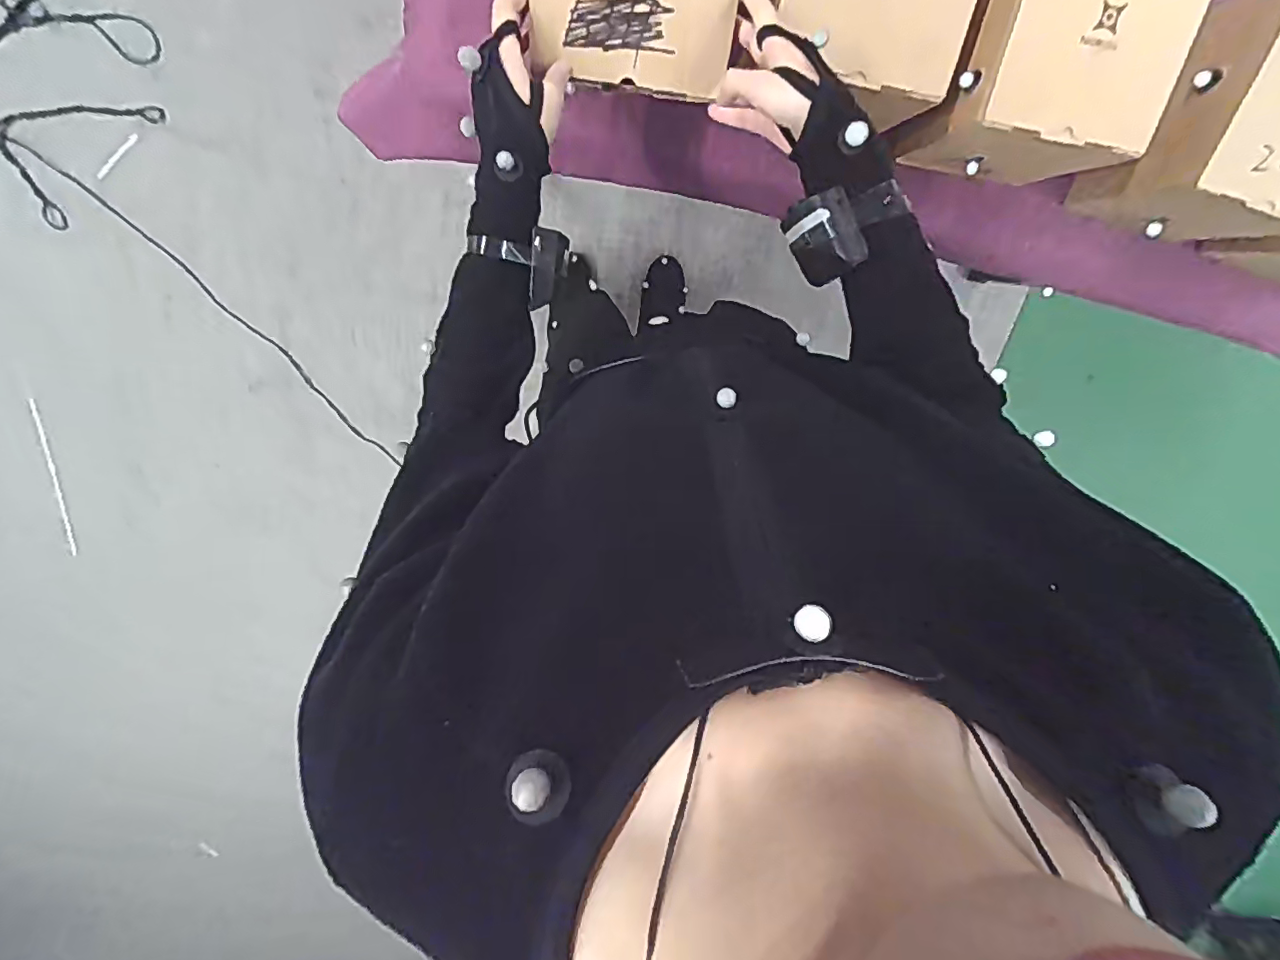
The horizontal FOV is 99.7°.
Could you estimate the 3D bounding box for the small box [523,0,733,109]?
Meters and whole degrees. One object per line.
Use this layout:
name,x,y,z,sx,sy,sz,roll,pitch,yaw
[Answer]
small box,-0.009,-0.443,0.468,0.168,0.176,0.179,3,127,-7
